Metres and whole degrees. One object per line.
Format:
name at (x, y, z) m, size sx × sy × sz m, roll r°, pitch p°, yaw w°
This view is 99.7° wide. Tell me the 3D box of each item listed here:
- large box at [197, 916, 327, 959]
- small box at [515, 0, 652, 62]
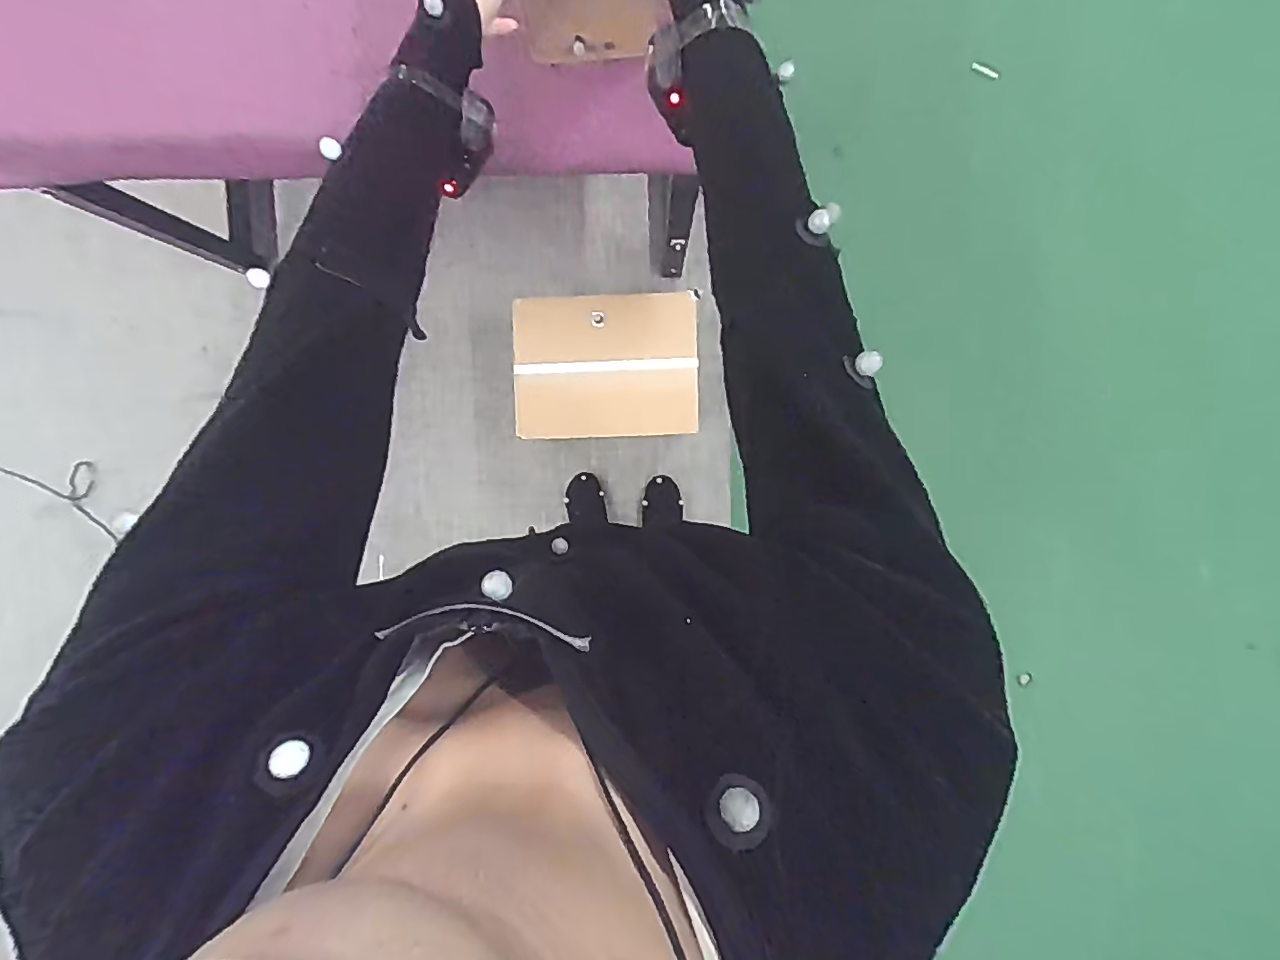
large box at (-1.105, 1.535, 1.487) m, size 0.408 × 0.320 × 0.320 m, roll 28°, pitch 94°, yaw 0°
small box at (-0.072, -0.646, 0.638) m, size 0.168 × 0.176 × 0.179 m, roll -4°, pitch 94°, yaw 2°
